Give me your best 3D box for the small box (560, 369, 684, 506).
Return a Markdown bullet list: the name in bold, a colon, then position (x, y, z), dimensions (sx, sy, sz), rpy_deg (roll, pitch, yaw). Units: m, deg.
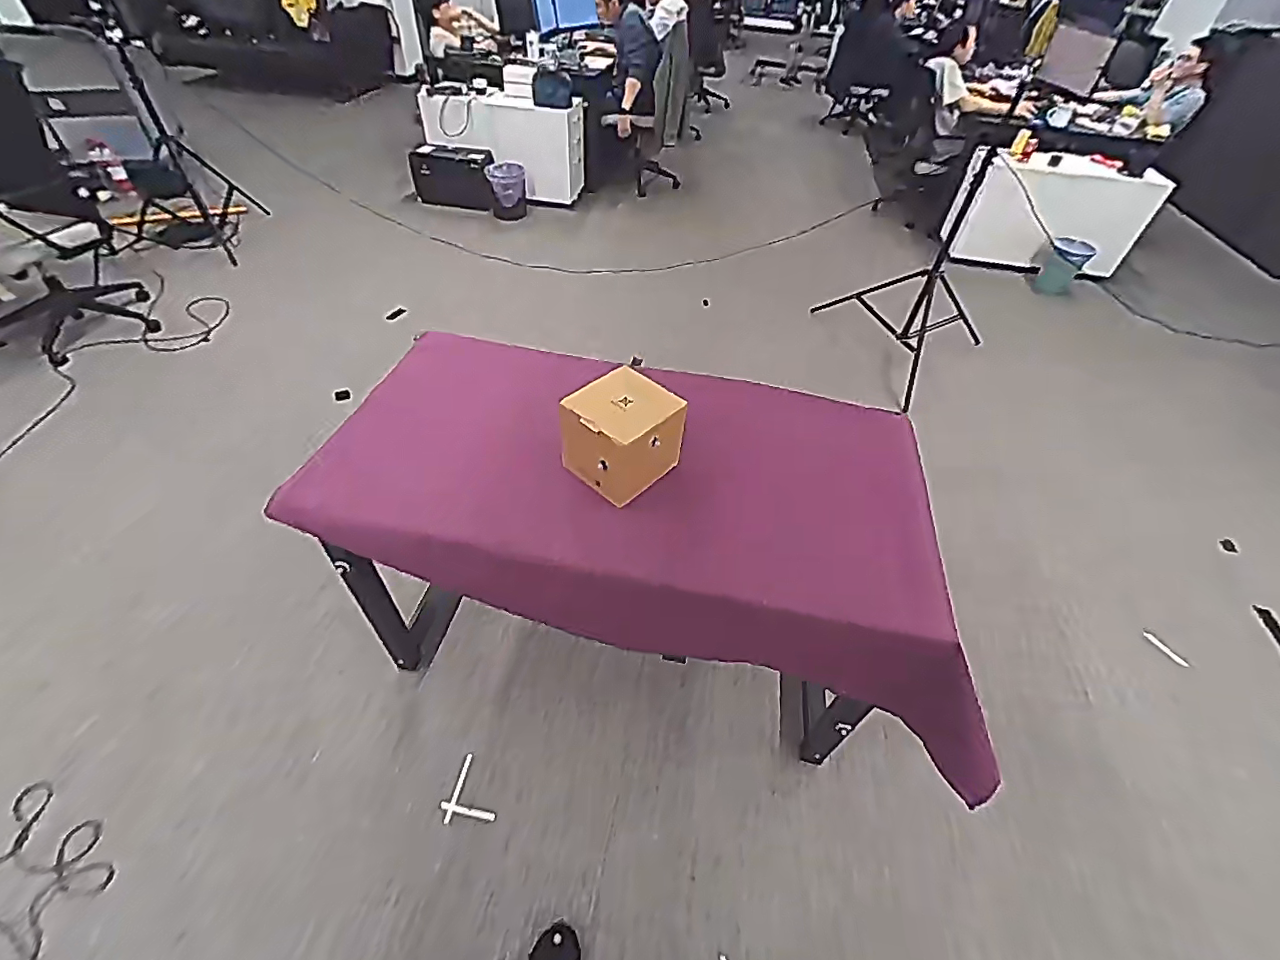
- **small box**: position (-0.035, -0.082, 1.055), dimensions (0.168, 0.176, 0.179), rpy_deg (35, 53, 25)
